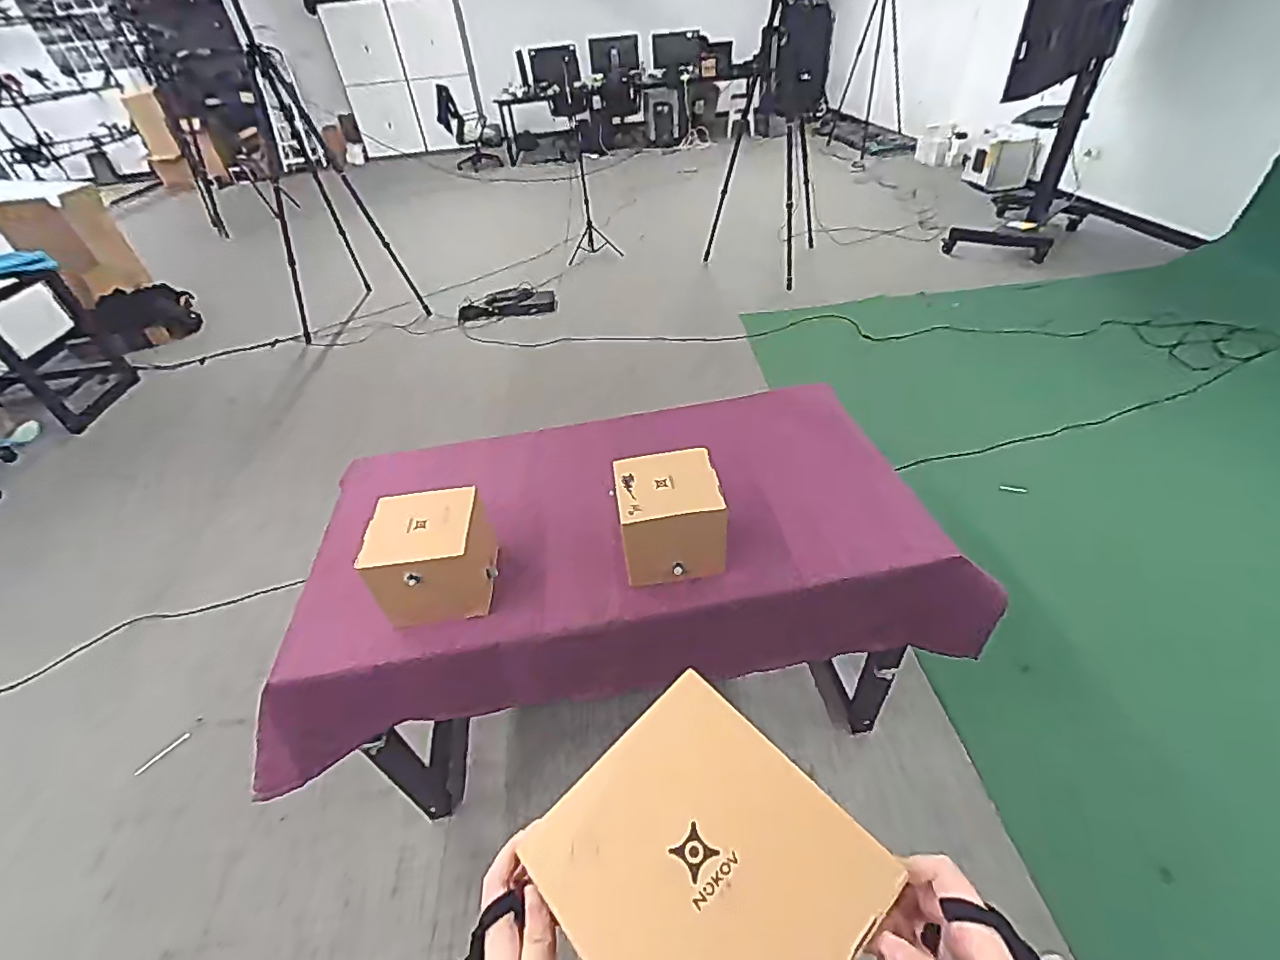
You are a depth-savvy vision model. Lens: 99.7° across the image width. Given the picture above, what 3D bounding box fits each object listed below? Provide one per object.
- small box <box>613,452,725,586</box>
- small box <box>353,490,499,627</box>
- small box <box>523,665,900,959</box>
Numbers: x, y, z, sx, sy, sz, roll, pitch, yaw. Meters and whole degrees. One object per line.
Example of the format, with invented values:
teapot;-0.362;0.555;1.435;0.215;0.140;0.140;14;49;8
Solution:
small box;0.049;0.072;0.983;0.179;0.176;0.168;-8;41;-2
small box;-0.365;0.142;0.957;0.179;0.176;0.168;-7;42;-1
small box;0.048;0.279;0.391;0.168;0.176;0.179;-39;52;-22
